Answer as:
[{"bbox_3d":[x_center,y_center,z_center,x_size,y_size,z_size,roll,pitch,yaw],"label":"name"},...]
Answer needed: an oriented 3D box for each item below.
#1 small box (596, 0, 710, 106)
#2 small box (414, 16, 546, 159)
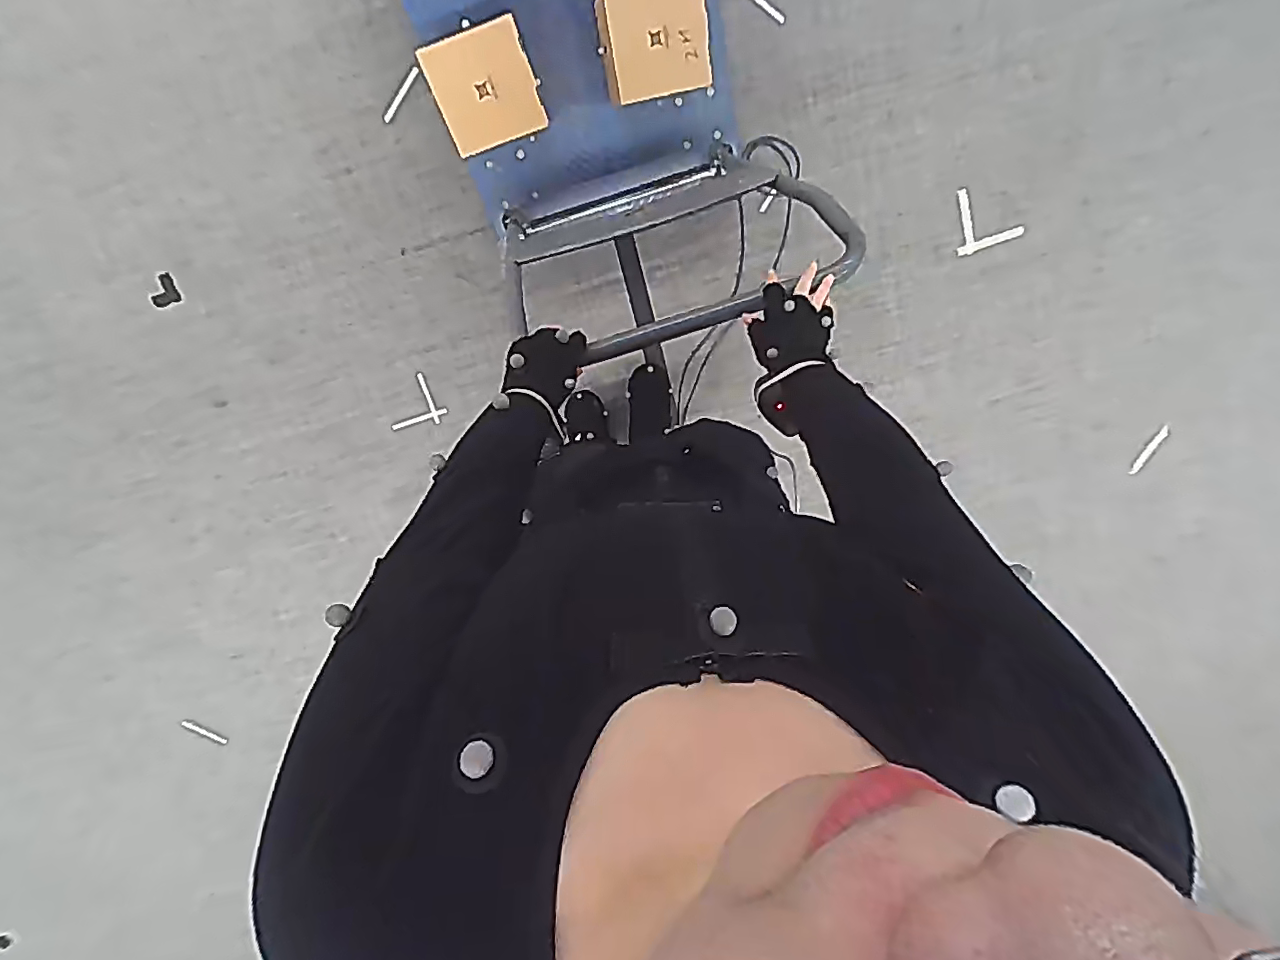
[{"bbox_3d":[0.018,-0.809,1.005,0.179,0.176,0.168,-14,125,-2],"label":"small box"},{"bbox_3d":[-0.287,-0.719,1.007,0.179,0.176,0.168,-21,125,2],"label":"small box"}]
